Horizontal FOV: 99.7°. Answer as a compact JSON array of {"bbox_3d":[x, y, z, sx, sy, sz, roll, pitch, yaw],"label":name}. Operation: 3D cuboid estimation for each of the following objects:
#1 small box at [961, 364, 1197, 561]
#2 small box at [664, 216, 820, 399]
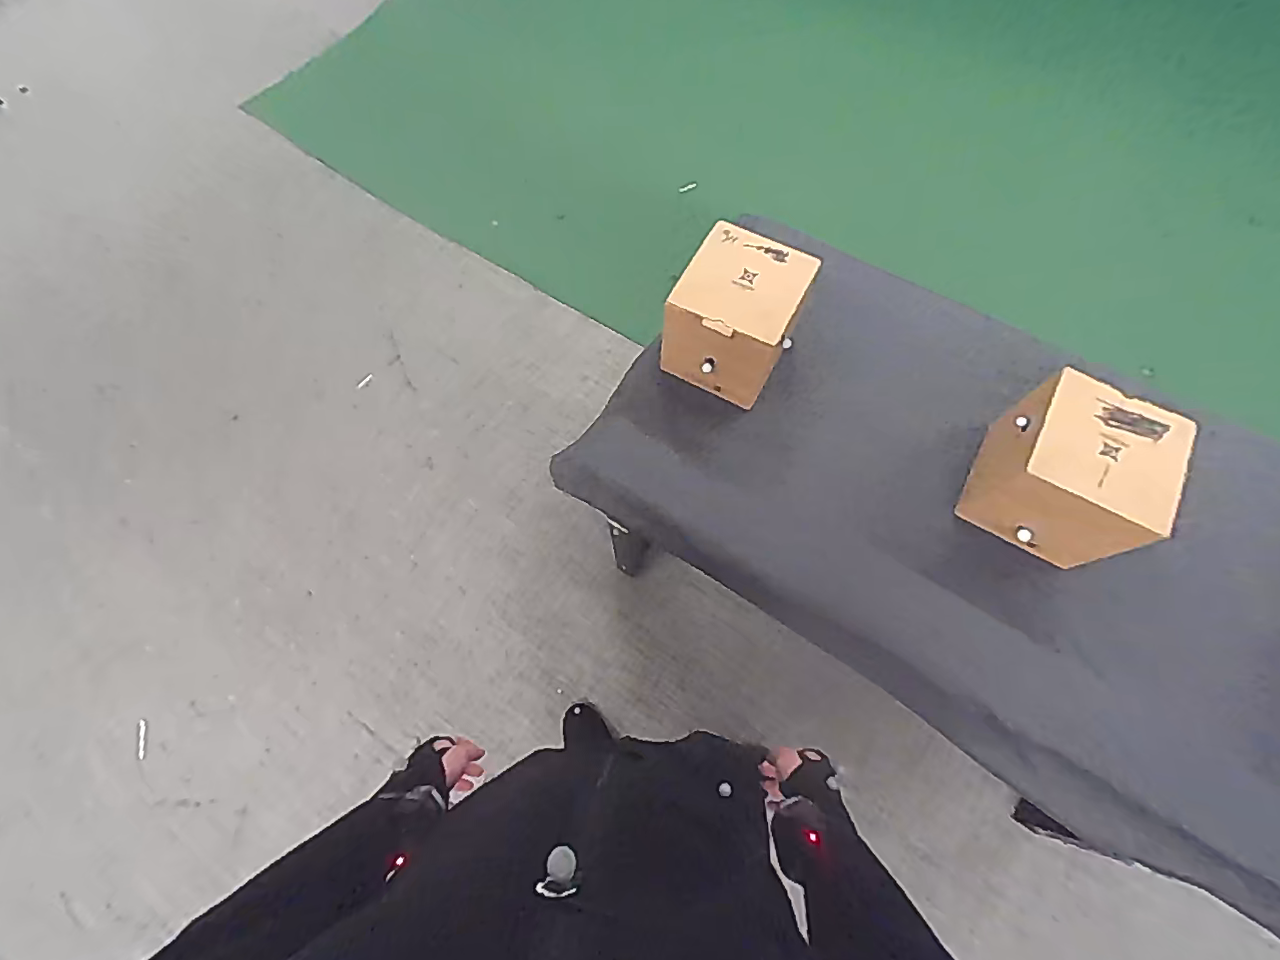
[{"bbox_3d":[0.575,-0.015,0.731,0.168,0.176,0.179,29,73,12],"label":"small box"},{"bbox_3d":[0.147,-0.254,0.830,0.168,0.176,0.179,27,72,10],"label":"small box"}]
